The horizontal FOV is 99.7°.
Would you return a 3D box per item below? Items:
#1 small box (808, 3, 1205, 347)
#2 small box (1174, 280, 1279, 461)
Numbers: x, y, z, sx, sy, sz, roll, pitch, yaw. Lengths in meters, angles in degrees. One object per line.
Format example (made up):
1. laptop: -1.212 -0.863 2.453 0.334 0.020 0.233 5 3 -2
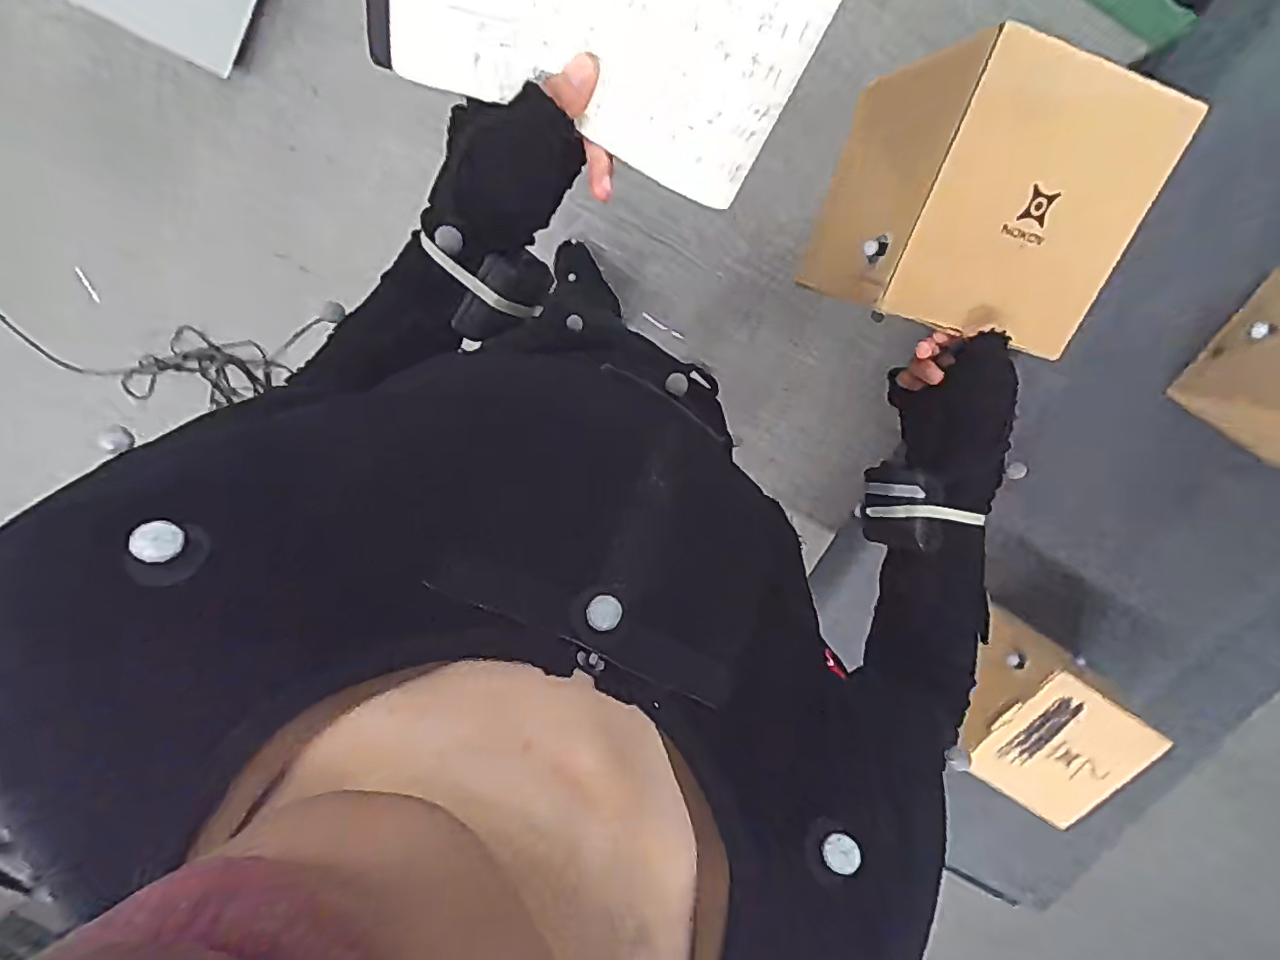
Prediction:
1. small box: 0.262 -0.228 0.440 0.168 0.176 0.179 9 115 -12
2. small box: 0.752 -0.105 0.568 0.179 0.176 0.168 30 107 -5
